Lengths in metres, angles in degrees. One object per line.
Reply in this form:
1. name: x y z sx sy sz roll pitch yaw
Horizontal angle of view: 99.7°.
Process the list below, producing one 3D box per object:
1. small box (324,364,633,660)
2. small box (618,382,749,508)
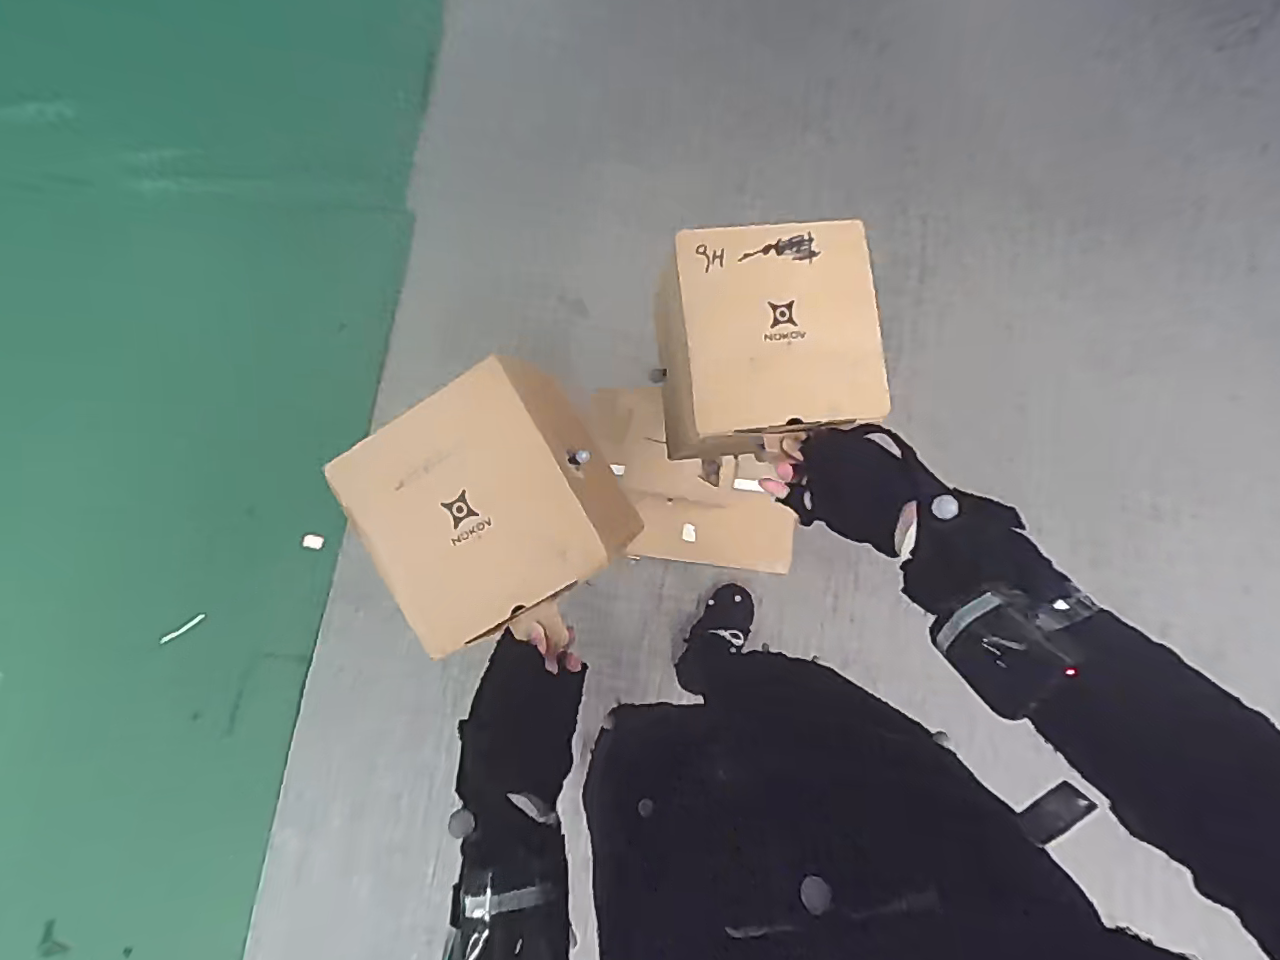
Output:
1. small box: -0.122 0.021 0.483 0.168 0.176 0.179 -31 89 9
2. small box: 0.072 -0.052 0.930 0.179 0.176 0.168 14 86 4
